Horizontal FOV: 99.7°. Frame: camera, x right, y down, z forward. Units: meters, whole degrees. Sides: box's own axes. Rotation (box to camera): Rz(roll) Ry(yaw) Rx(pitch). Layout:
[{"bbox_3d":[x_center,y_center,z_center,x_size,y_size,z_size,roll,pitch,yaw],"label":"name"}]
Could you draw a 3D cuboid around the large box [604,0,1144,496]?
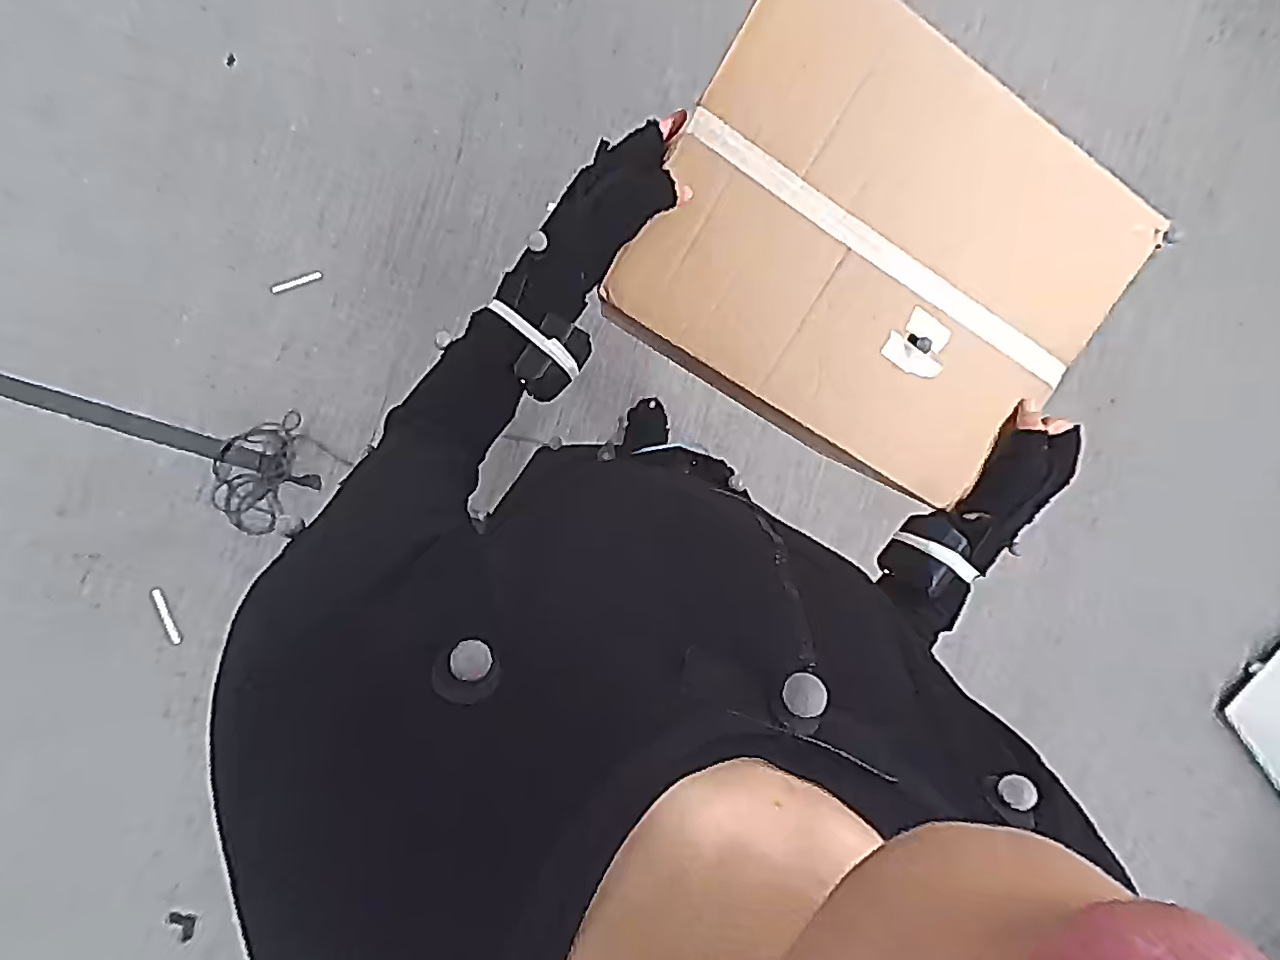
[{"bbox_3d":[0.203,-0.238,0.625,0.408,0.320,0.320,30,101,-11],"label":"large box"}]
